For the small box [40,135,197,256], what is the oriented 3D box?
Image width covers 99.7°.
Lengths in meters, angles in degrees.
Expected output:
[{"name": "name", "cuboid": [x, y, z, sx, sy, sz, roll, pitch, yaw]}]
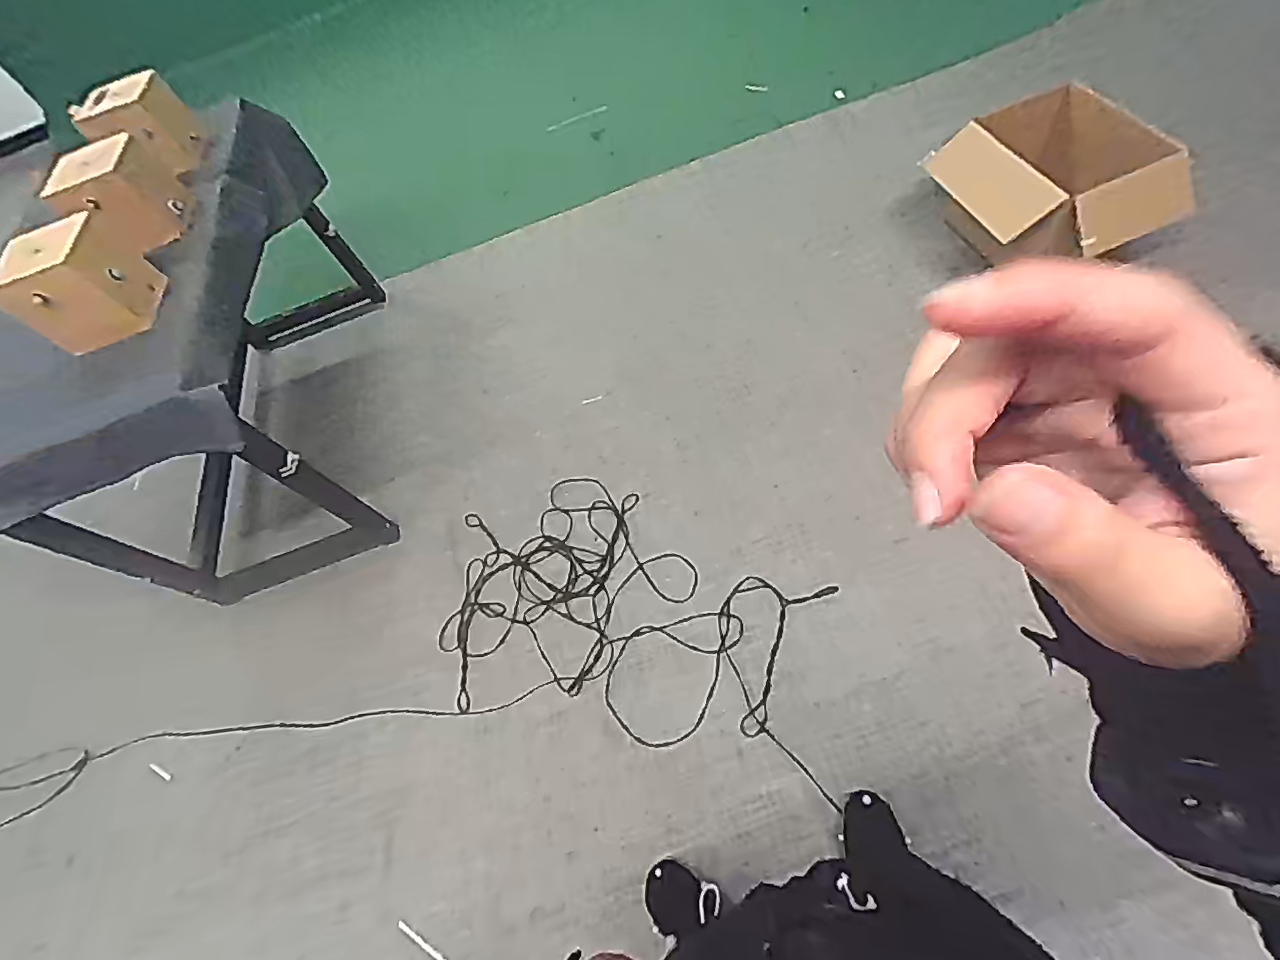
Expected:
[{"name": "small box", "cuboid": [-1.169, -0.633, 1.227, 0.179, 0.176, 0.168, -18, 60, 2]}]

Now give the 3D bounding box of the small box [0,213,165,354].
[{"name": "small box", "cuboid": [-1.101, -0.382, 1.068, 0.179, 0.176, 0.168, -19, 59, 4]}]
